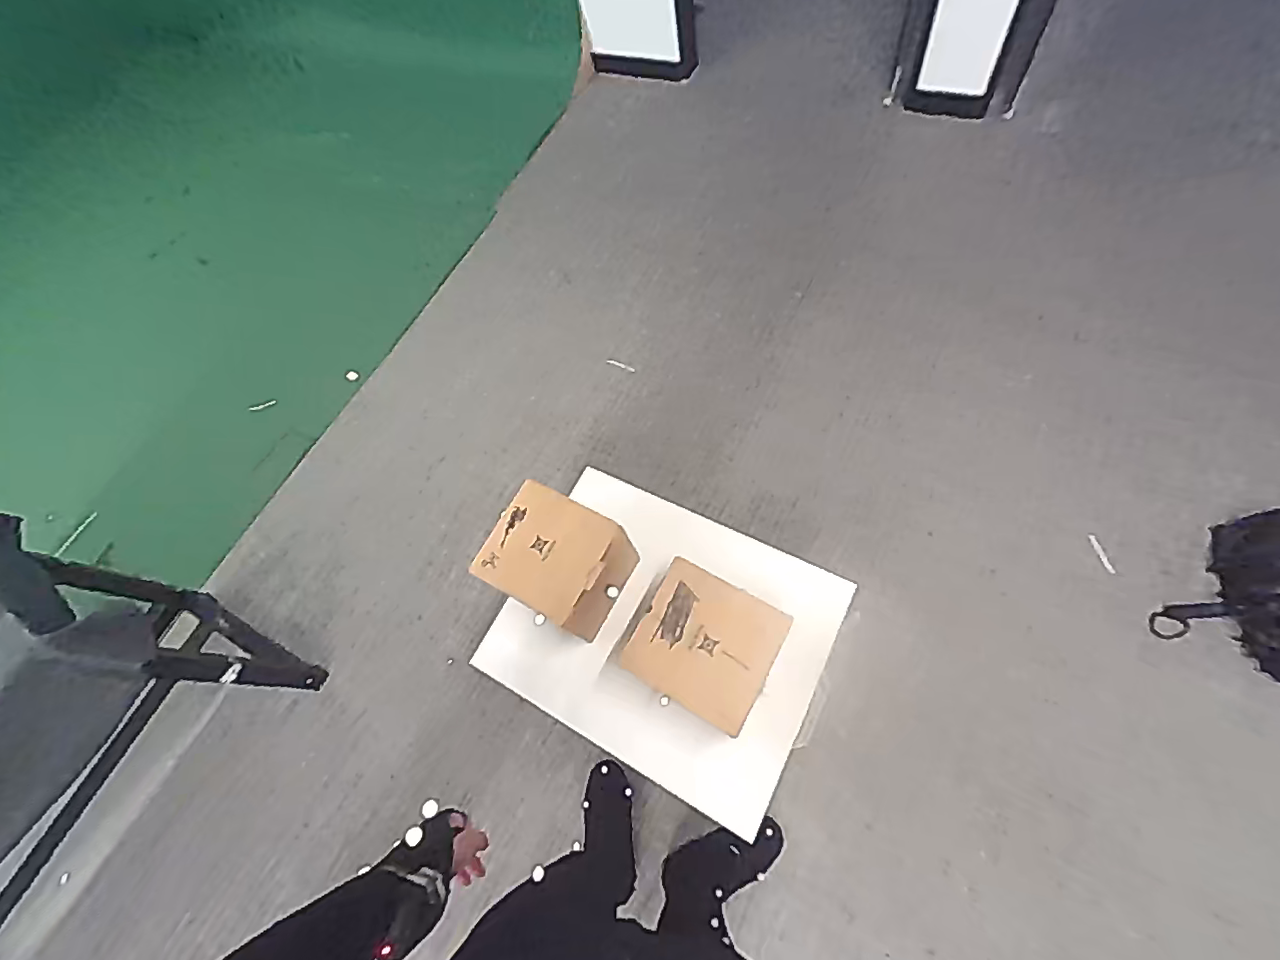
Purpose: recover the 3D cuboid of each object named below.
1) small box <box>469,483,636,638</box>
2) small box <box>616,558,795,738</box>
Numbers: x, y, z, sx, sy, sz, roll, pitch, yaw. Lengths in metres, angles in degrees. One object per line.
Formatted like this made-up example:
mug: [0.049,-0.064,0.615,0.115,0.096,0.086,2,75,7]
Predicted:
small box: [-0.123,0.134,0.849,0.179,0.176,0.168,25,73,19]
small box: [0.095,0.238,0.756,0.179,0.176,0.168,26,74,21]
